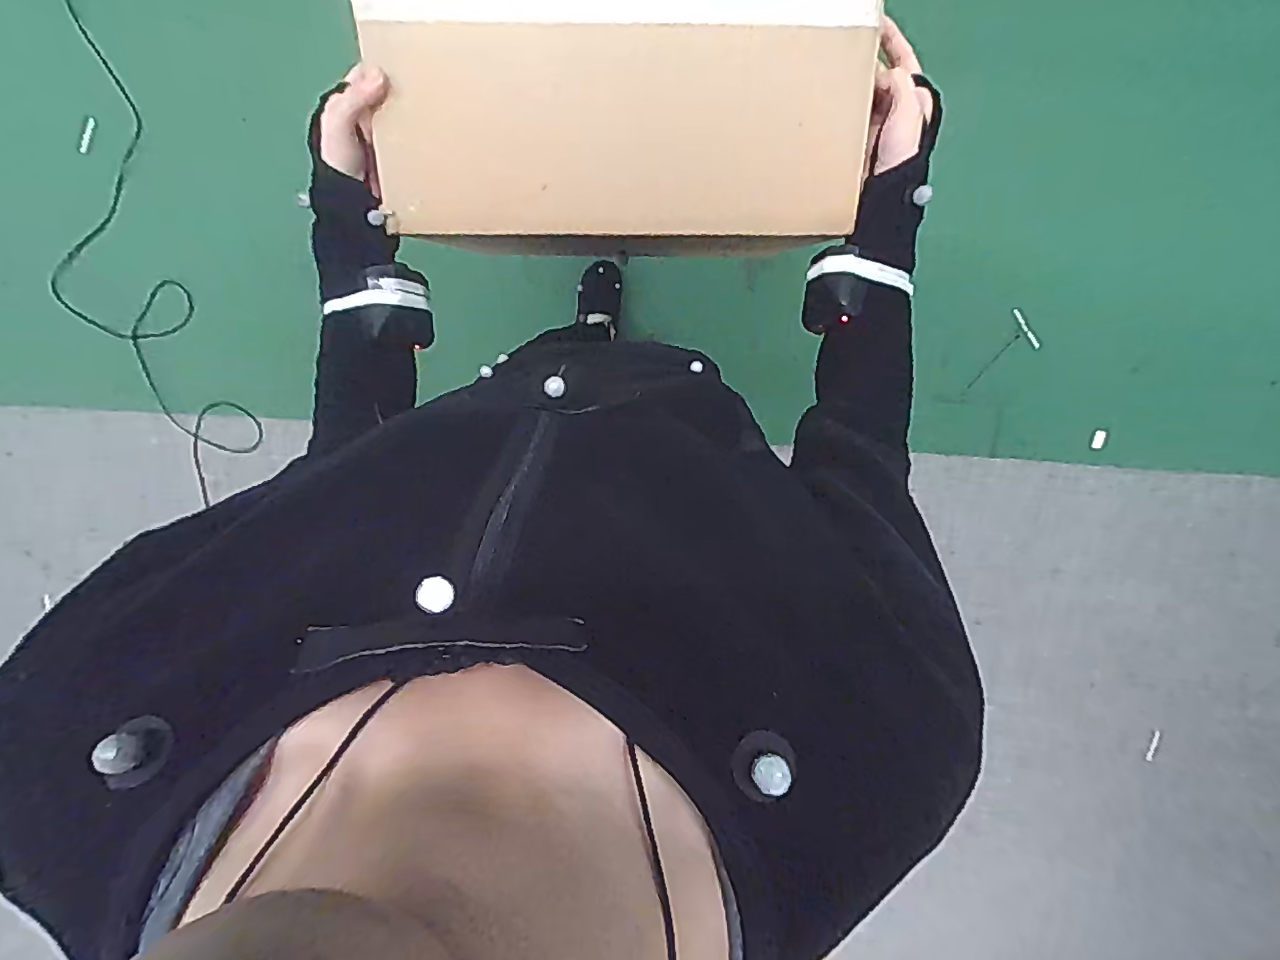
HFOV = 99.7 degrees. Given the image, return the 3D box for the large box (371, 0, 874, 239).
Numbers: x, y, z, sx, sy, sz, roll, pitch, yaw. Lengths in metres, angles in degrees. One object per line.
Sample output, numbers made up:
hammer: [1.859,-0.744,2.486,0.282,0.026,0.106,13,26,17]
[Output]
large box: [-0.013,-0.426,0.563,0.408,0.320,0.320,0,110,-1]
